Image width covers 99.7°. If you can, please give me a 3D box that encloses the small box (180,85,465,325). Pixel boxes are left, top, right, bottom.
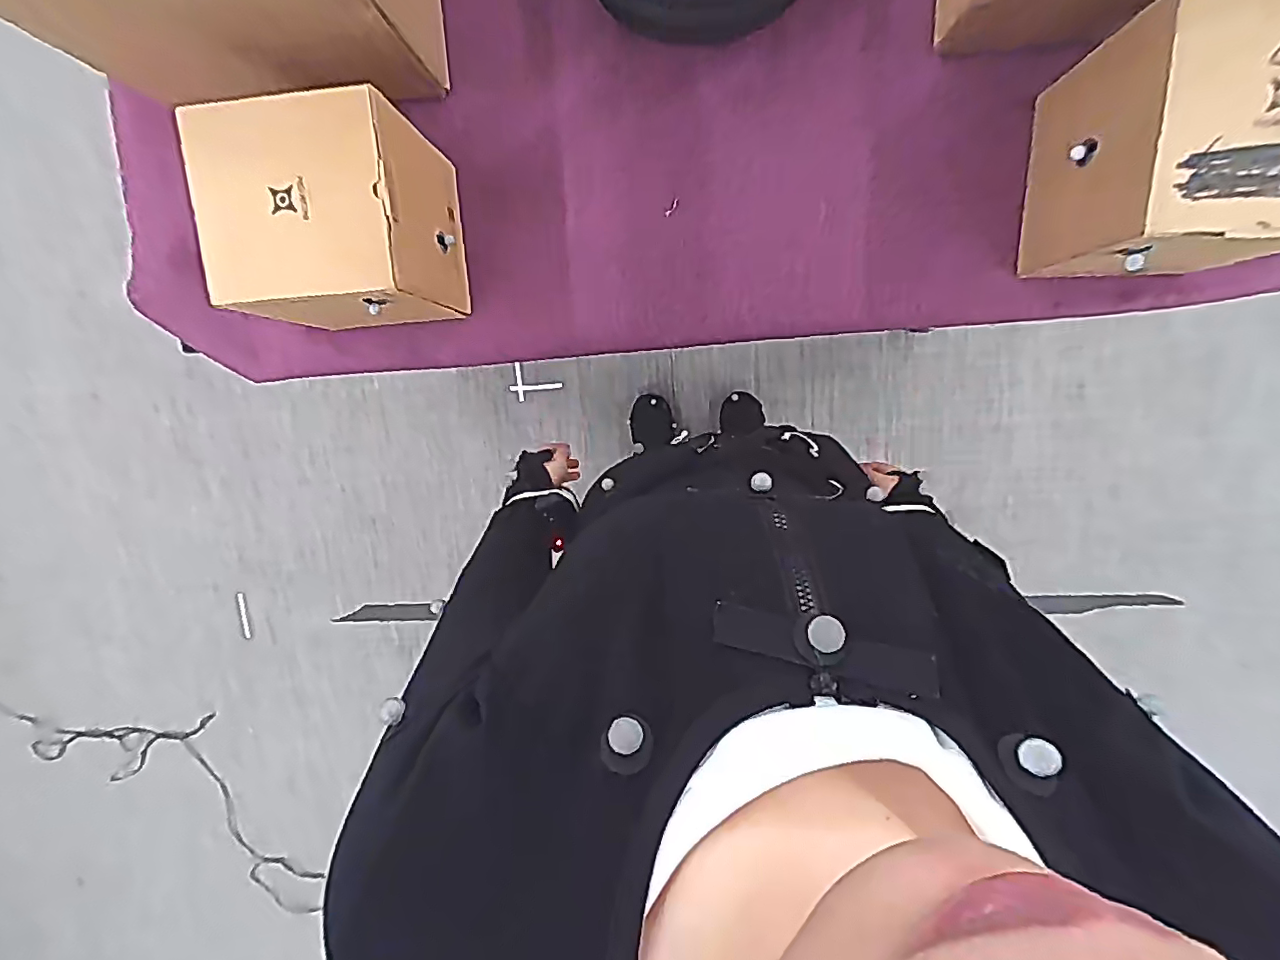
[{"bbox_3d":[-0.301,-0.258,0.550,0.179,0.176,0.168,-4,99,4],"label":"small box"}]

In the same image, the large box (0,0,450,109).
[{"bbox_3d":[-0.377,-0.582,0.424,0.320,0.320,0.408,-3,103,4],"label":"large box"}]
